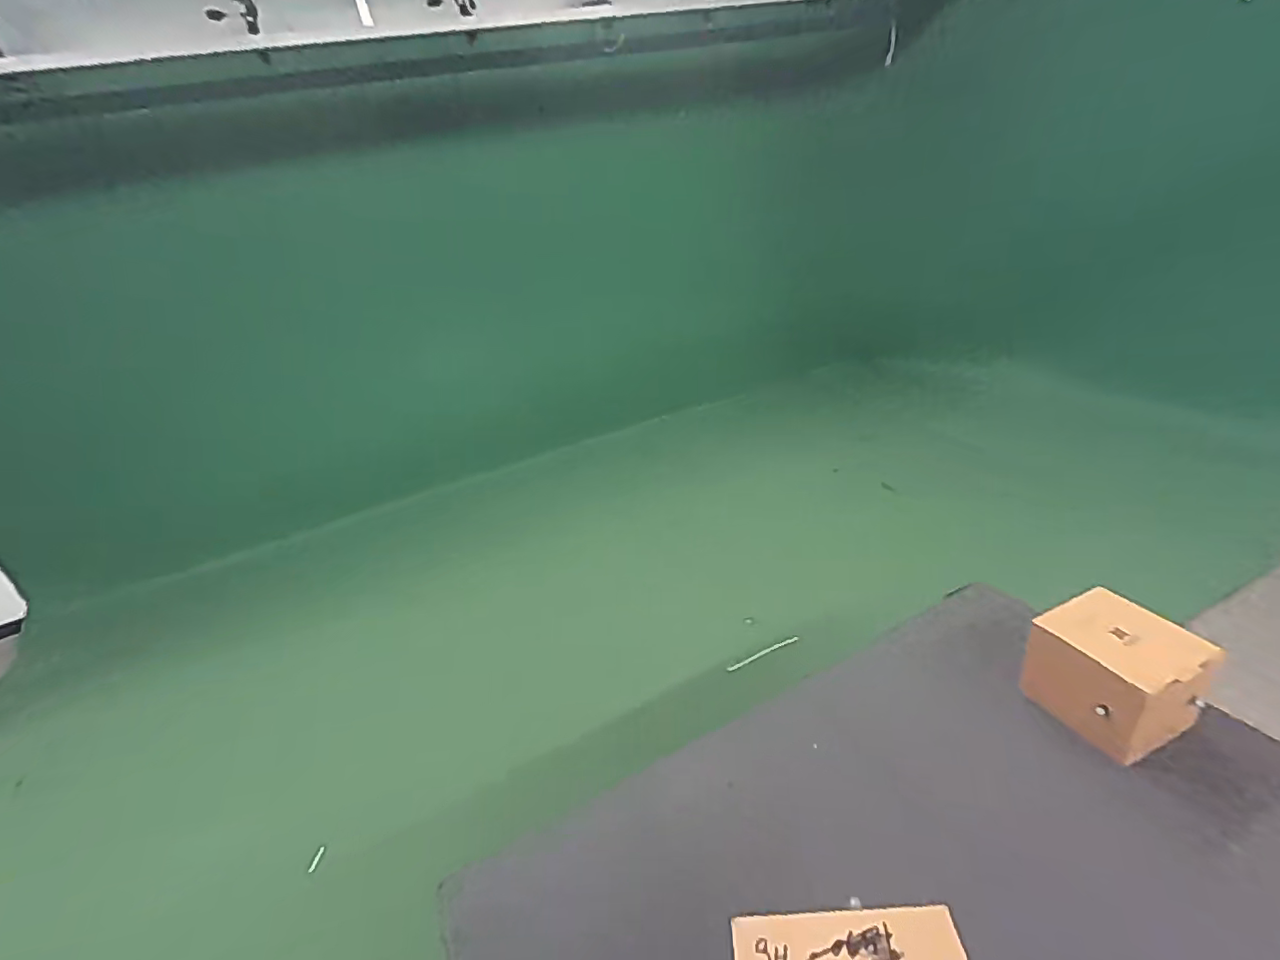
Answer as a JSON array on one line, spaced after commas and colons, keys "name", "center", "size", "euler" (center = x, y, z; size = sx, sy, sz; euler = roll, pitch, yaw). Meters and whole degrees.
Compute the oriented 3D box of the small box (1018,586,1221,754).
[{"name": "small box", "center": [0.765, 0.311, 0.883], "size": [0.168, 0.176, 0.179], "euler": [-18, 27, -15]}]
